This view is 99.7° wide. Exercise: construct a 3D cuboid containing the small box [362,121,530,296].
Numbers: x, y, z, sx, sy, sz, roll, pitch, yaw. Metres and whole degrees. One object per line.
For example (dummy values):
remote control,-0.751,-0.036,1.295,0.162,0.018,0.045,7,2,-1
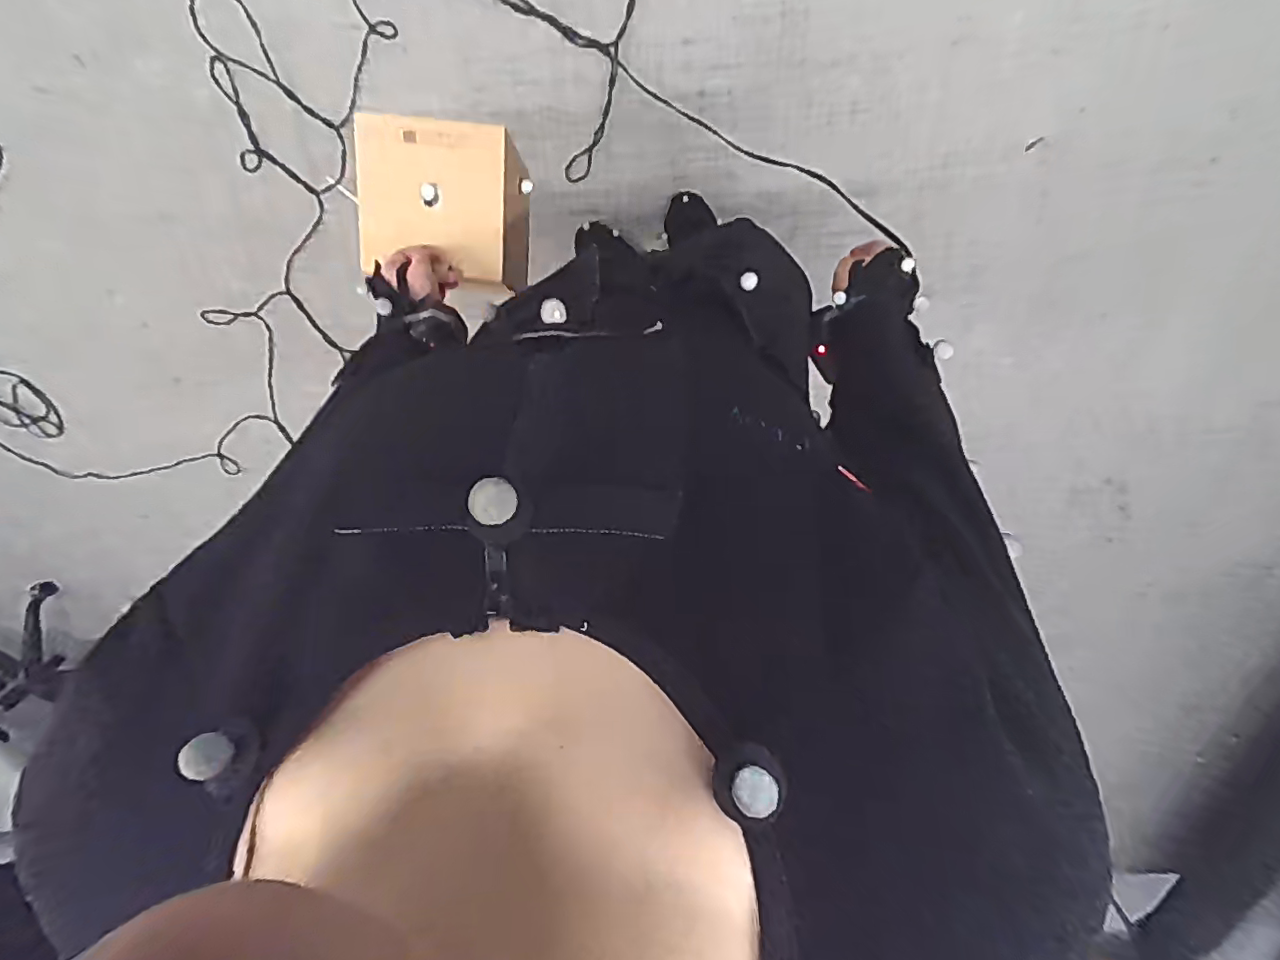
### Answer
small box,-0.236,-0.334,0.692,0.168,0.179,0.176,3,105,-3
